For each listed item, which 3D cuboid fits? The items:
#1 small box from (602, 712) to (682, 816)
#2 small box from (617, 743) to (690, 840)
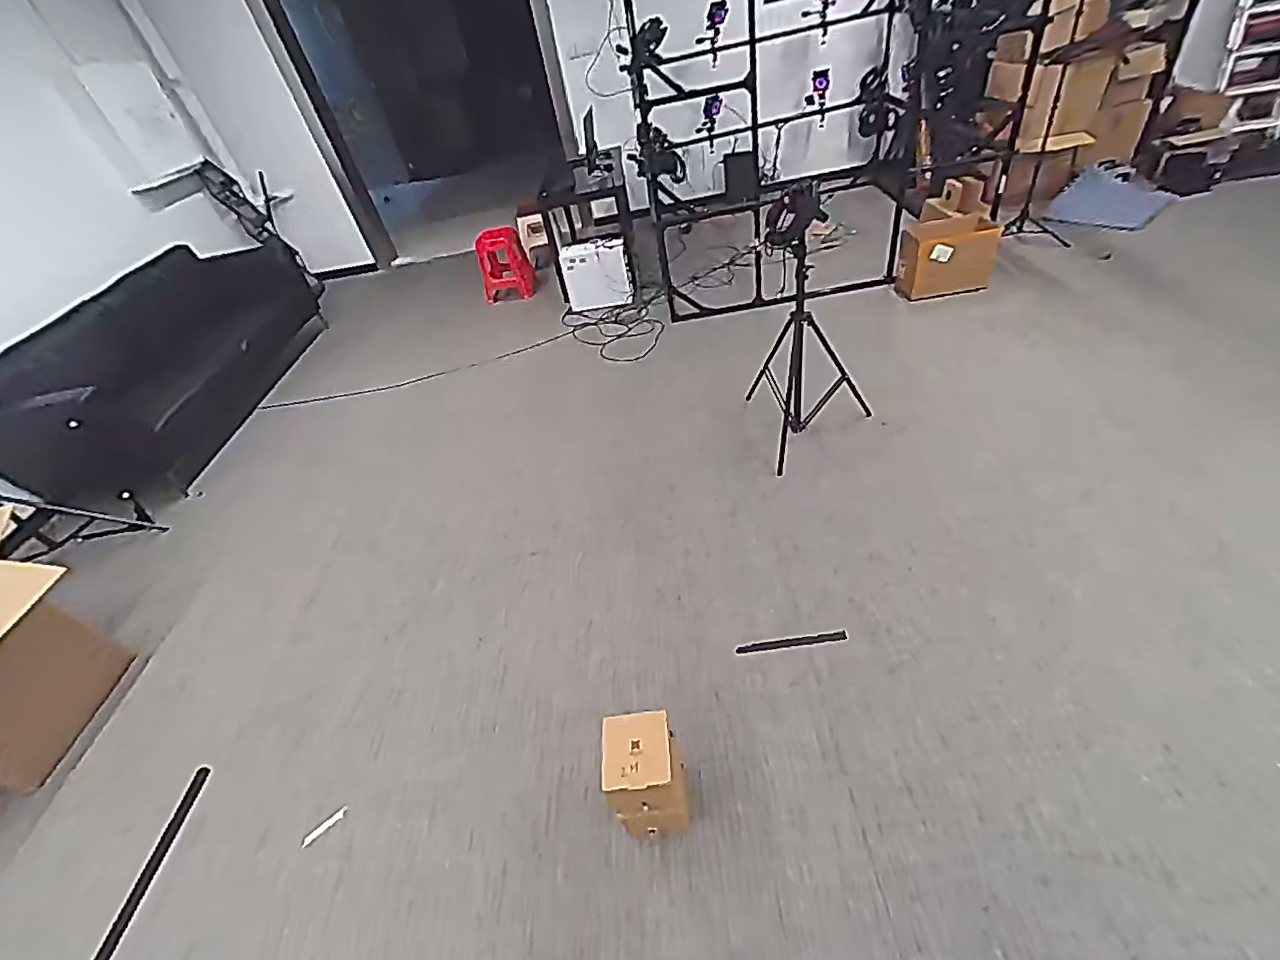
[{"bbox_3d":[0.006,0.704,1.341,0.168,0.176,0.179,-10,42,6],"label":"small box"},{"bbox_3d":[0.036,0.830,1.442,0.168,0.176,0.179,-10,41,6],"label":"small box"}]
